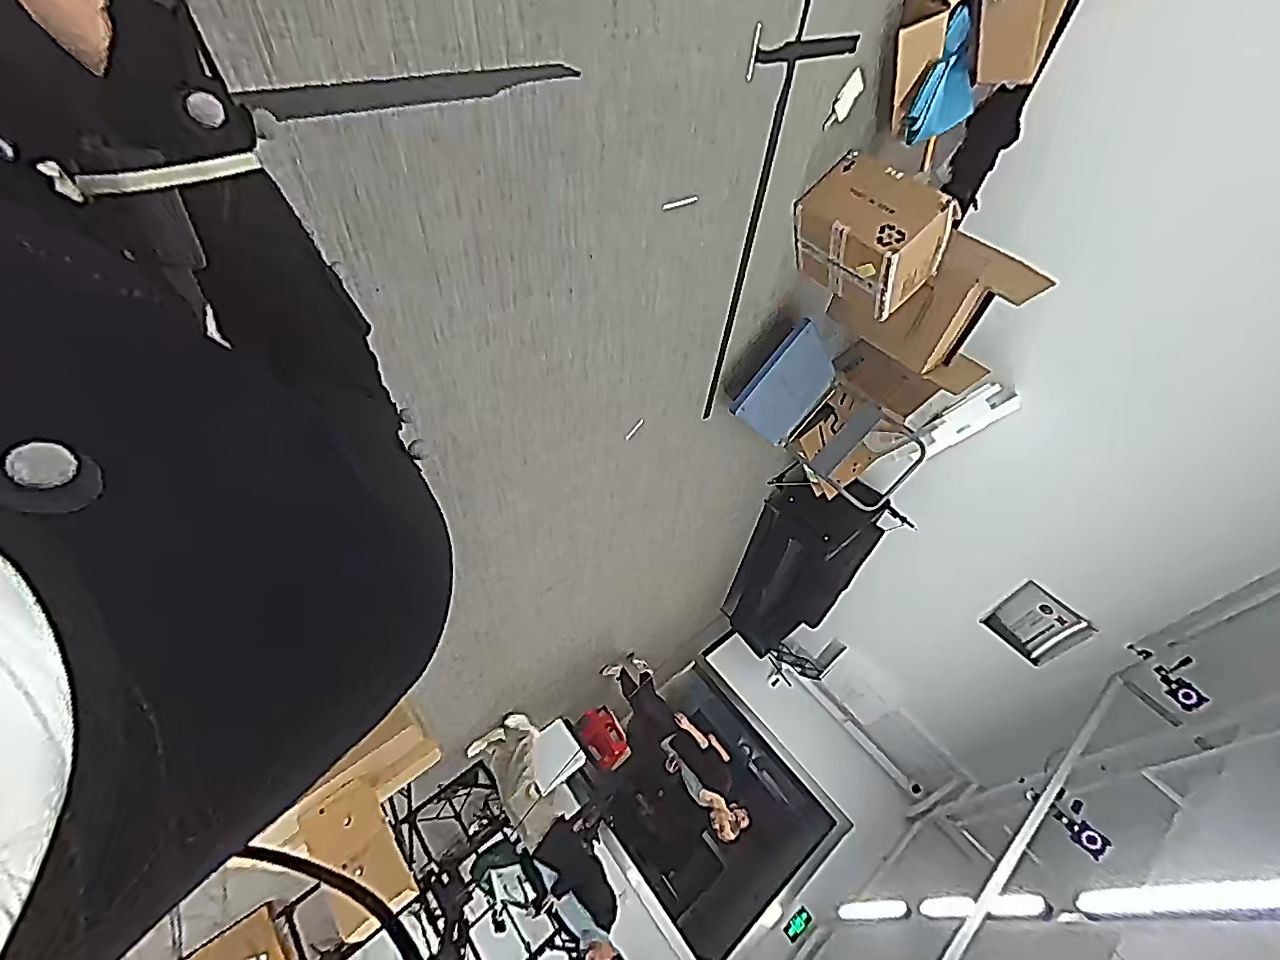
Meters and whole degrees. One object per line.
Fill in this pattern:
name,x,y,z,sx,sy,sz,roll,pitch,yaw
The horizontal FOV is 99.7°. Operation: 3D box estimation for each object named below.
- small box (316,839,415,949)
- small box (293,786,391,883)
small box,-0.731,1.104,1.448,0.168,0.176,0.179,-30,150,-31
small box,-0.835,0.995,1.517,0.168,0.176,0.179,-31,150,-28
